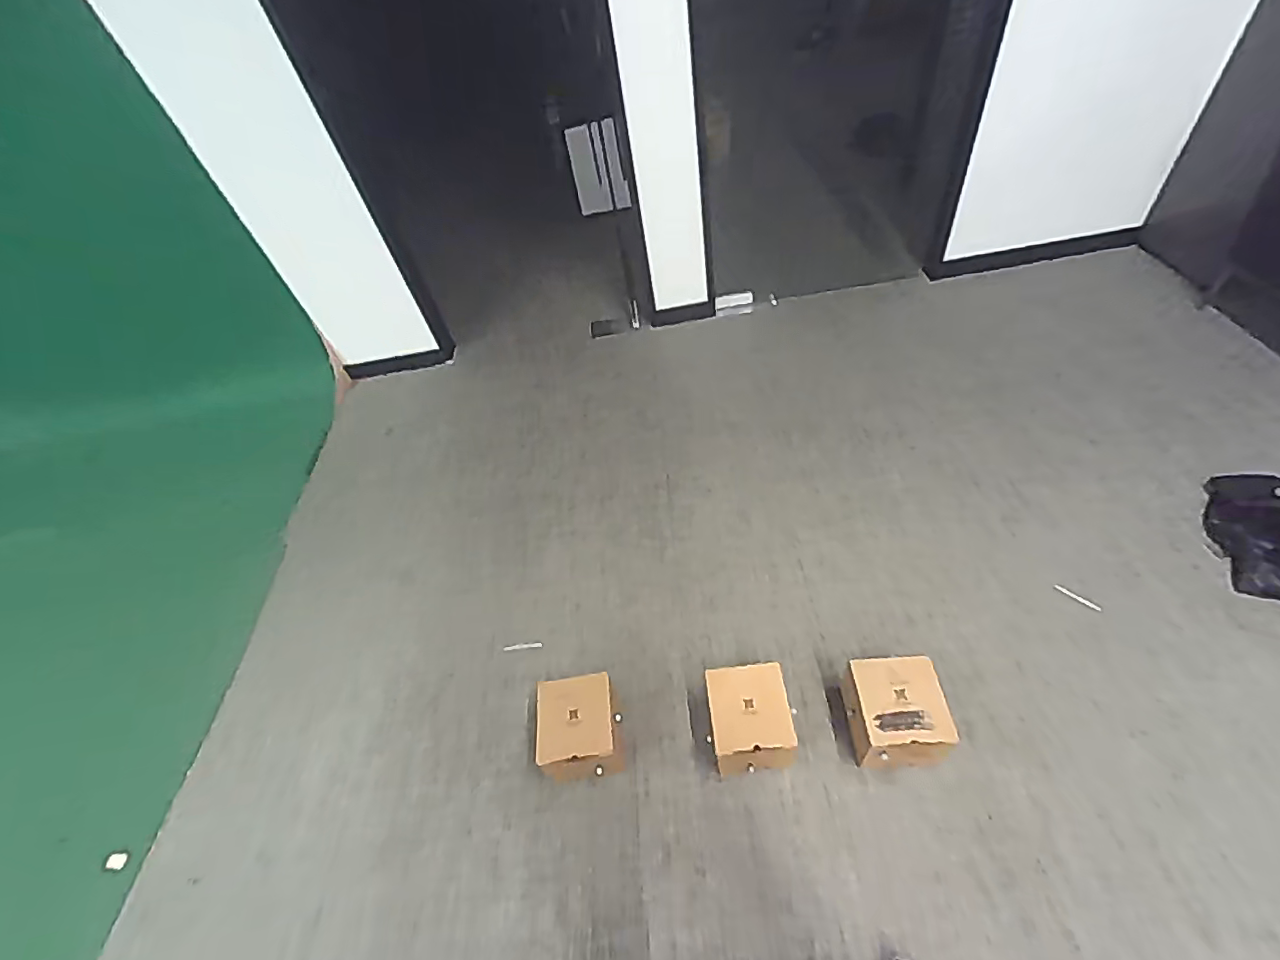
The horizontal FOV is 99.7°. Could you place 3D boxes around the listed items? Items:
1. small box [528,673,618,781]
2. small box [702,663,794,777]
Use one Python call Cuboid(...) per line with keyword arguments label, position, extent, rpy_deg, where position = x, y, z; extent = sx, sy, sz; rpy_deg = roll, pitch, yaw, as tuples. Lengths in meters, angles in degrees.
Cuboid(label="small box", position=(-0.145, 0.561, 1.215), extent=(0.168, 0.176, 0.179), rpy_deg=(-9, 47, 1))
Cuboid(label="small box", position=(0.227, 0.524, 1.177), extent=(0.168, 0.176, 0.179), rpy_deg=(-8, 48, 3))
